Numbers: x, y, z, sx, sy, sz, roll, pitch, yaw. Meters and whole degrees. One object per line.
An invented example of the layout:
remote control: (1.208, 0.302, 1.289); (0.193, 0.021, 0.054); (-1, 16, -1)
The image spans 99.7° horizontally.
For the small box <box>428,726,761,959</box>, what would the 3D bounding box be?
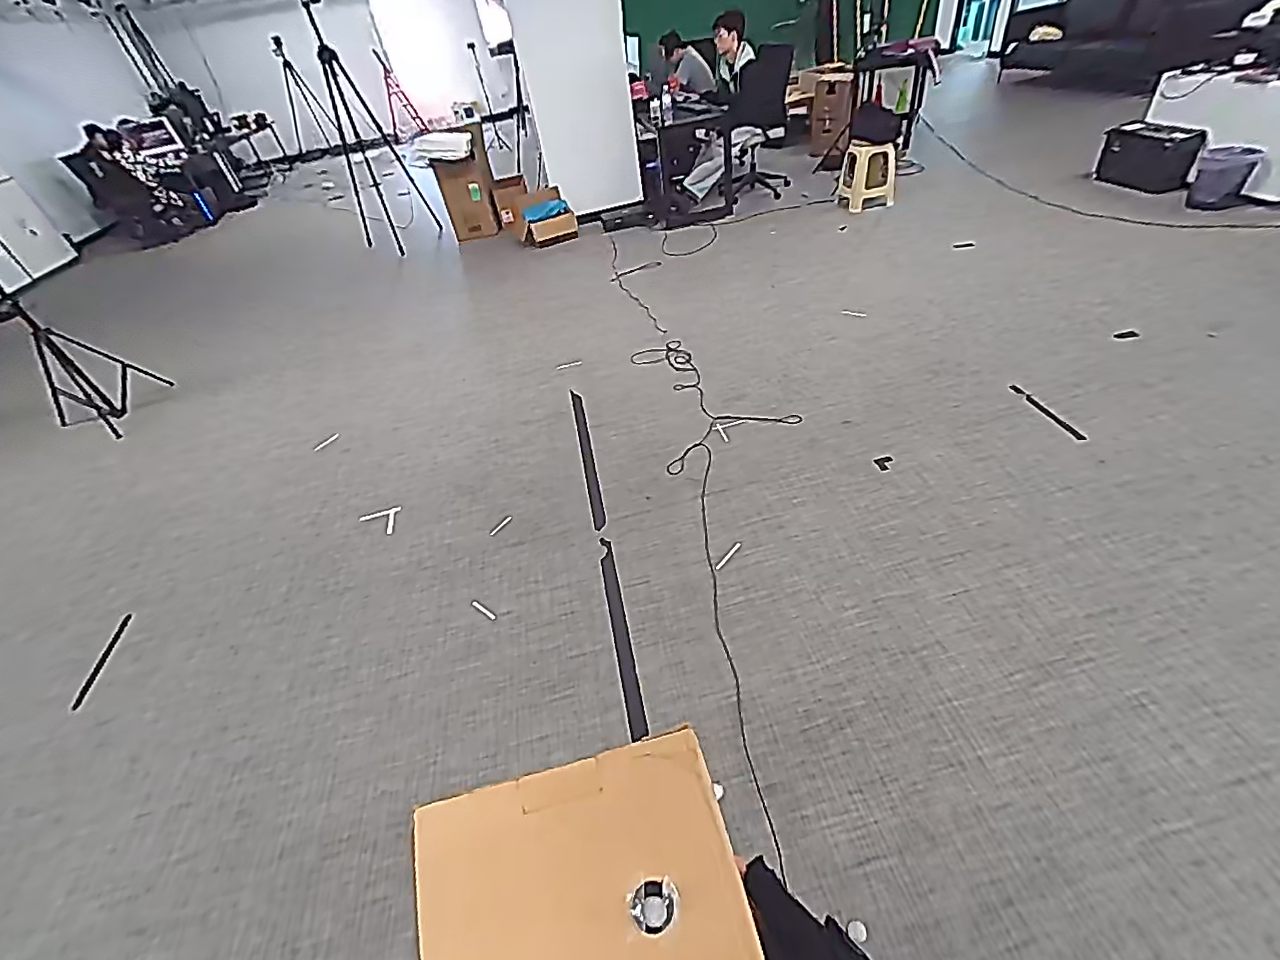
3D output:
small box: (-0.022, 0.281, 0.357); (0.168, 0.179, 0.176); (-13, 61, -6)
